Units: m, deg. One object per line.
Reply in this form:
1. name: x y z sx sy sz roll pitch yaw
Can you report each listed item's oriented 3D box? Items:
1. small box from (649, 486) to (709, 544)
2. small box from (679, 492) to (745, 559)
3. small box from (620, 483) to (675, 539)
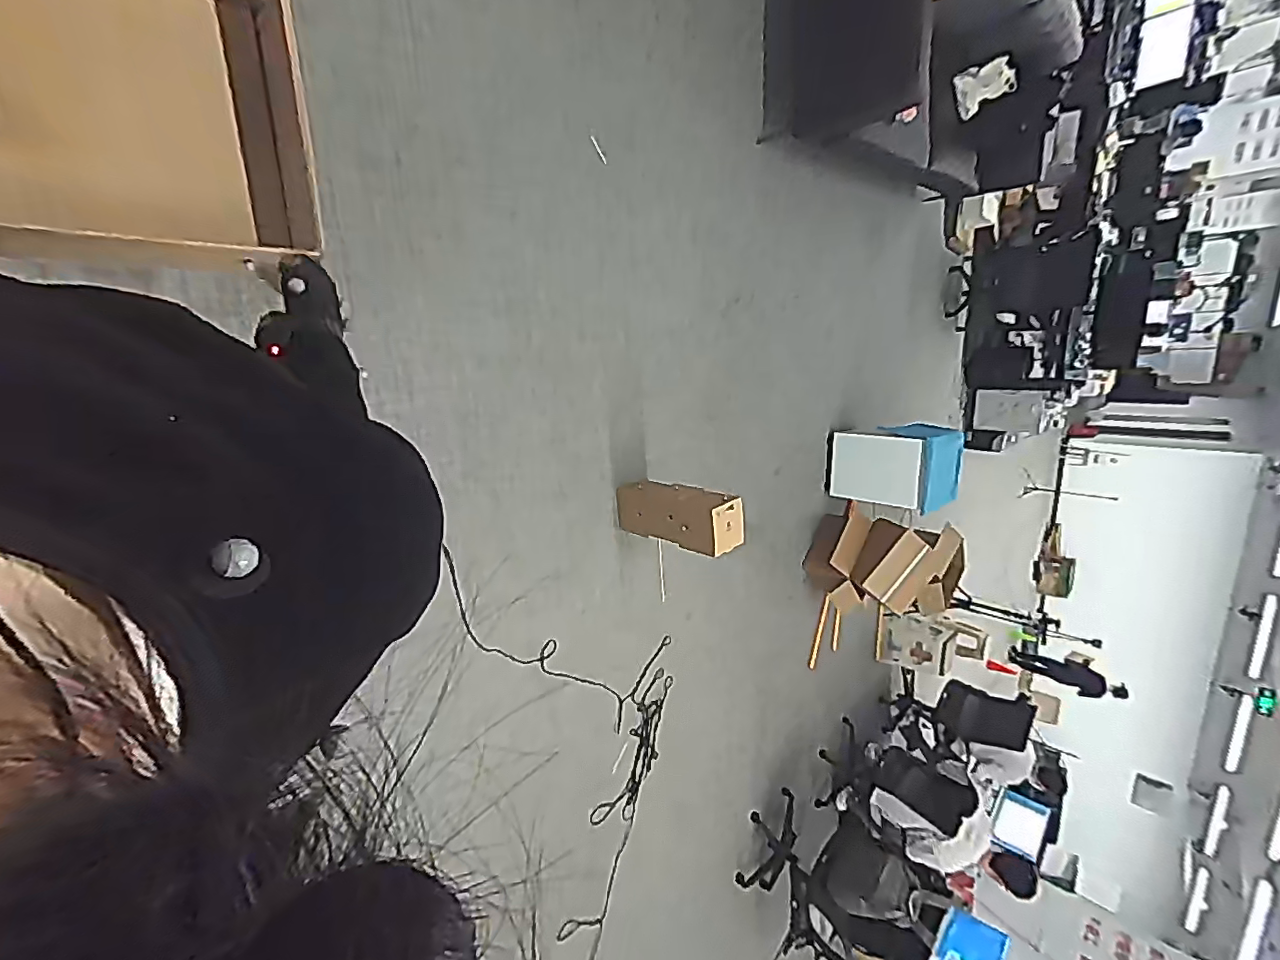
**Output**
1. small box: 0.148 0.126 2.025 0.168 0.176 0.179 -16 108 -41
2. small box: 0.251 0.155 1.902 0.168 0.176 0.179 -19 111 -41
3. small box: 0.033 0.115 2.143 0.168 0.176 0.179 -17 109 -42
